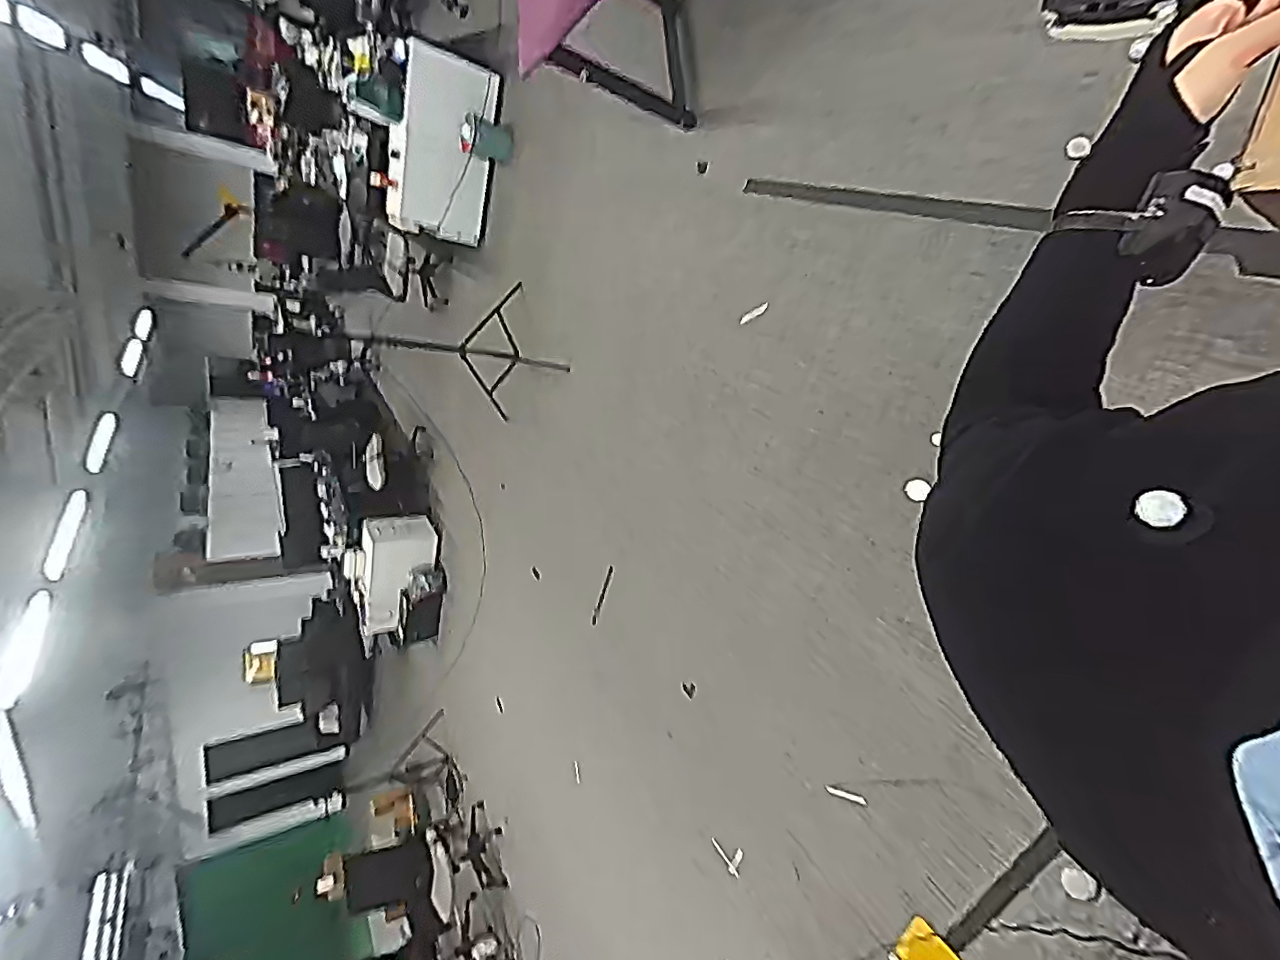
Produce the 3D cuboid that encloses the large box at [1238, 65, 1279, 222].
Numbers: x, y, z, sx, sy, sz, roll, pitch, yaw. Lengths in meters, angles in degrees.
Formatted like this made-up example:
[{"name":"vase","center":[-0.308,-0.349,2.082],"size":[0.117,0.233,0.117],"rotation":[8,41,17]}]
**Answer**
[{"name":"large box","center":[0.671,-0.309,0.266],"size":[0.408,0.320,0.320],"rotation":[28,118,53]}]
